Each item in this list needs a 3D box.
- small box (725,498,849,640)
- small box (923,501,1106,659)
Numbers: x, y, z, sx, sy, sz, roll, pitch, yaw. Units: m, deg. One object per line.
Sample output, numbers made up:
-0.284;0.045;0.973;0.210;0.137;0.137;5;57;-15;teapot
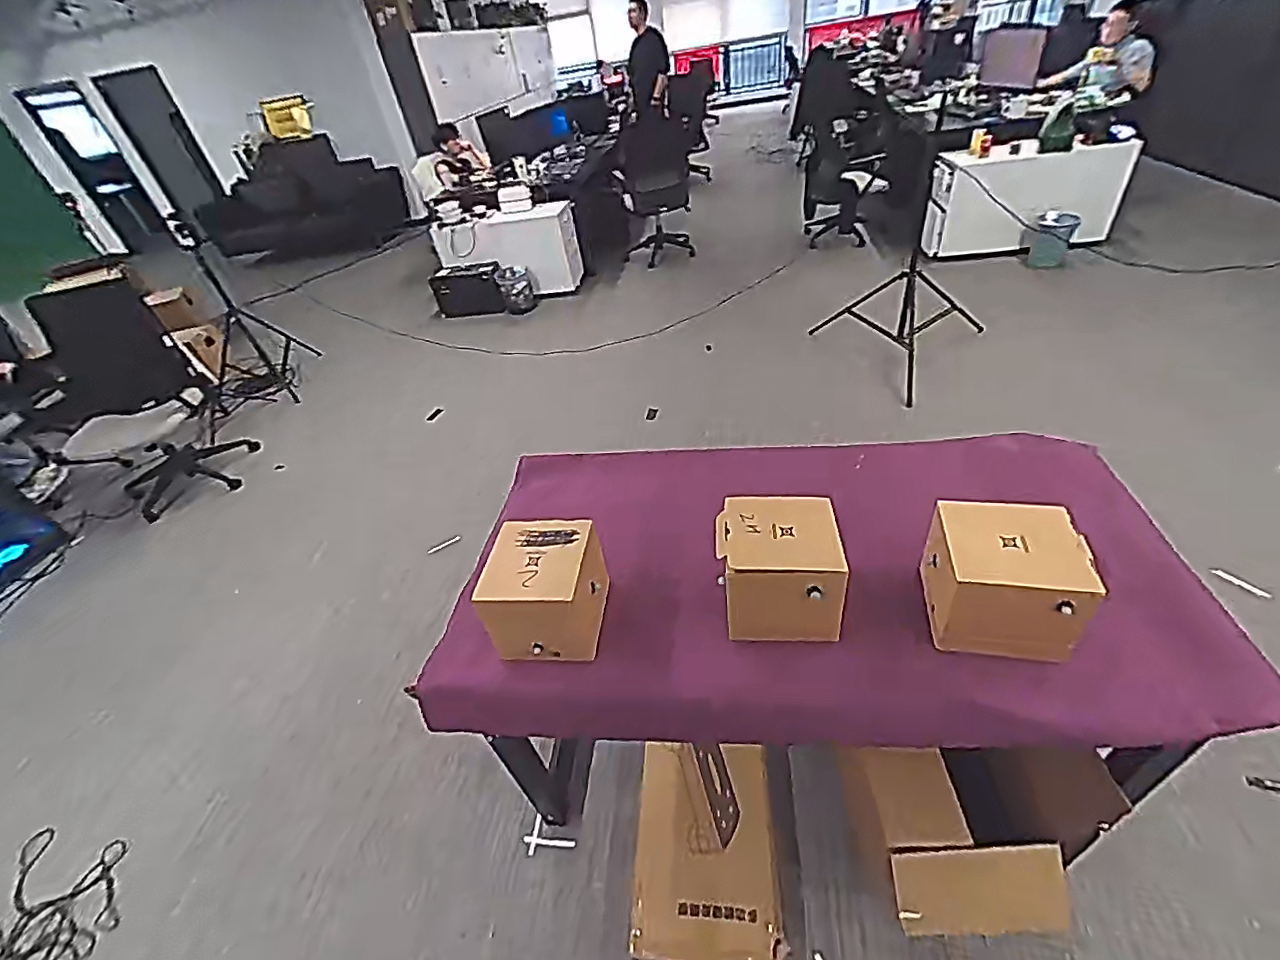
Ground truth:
0.231;0.148;0.890;0.179;0.176;0.168;-3;37;10;small box
0.541;0.150;0.817;0.179;0.176;0.168;2;41;15;small box
